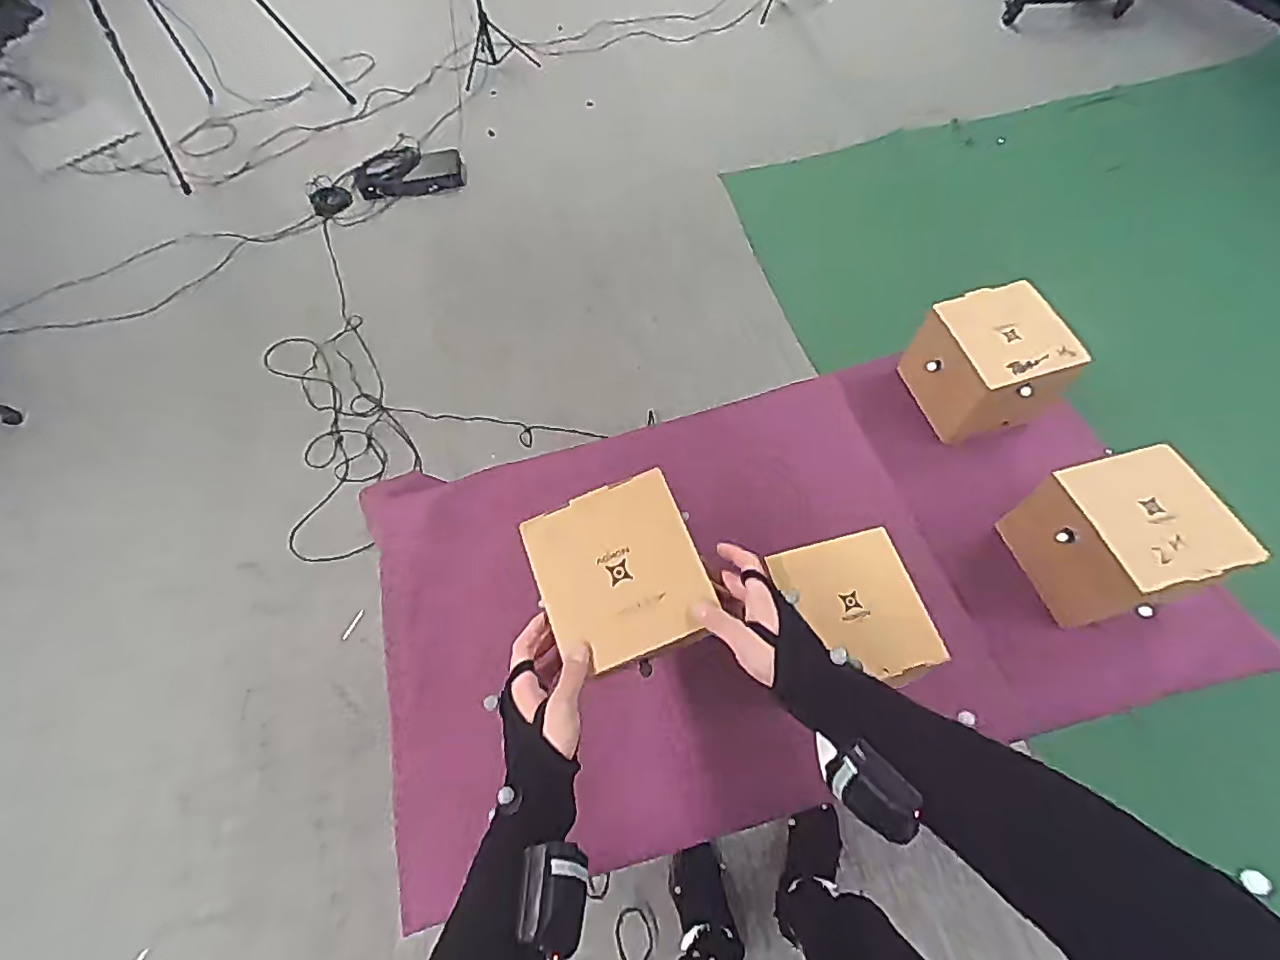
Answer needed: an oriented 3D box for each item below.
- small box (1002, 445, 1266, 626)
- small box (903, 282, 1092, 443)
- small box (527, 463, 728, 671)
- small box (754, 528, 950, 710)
[{"bbox_3d":[0.652,0.082,0.748,0.168,0.176,0.179,-14,60,-1],"label":"small box"},{"bbox_3d":[0.573,-0.190,0.900,0.168,0.176,0.179,-16,63,-1],"label":"small box"},{"bbox_3d":[-0.011,0.110,0.628,0.168,0.176,0.179,-22,71,-2],"label":"small box"},{"bbox_3d":[0.264,0.191,0.726,0.168,0.176,0.179,-14,61,-3],"label":"small box"}]
